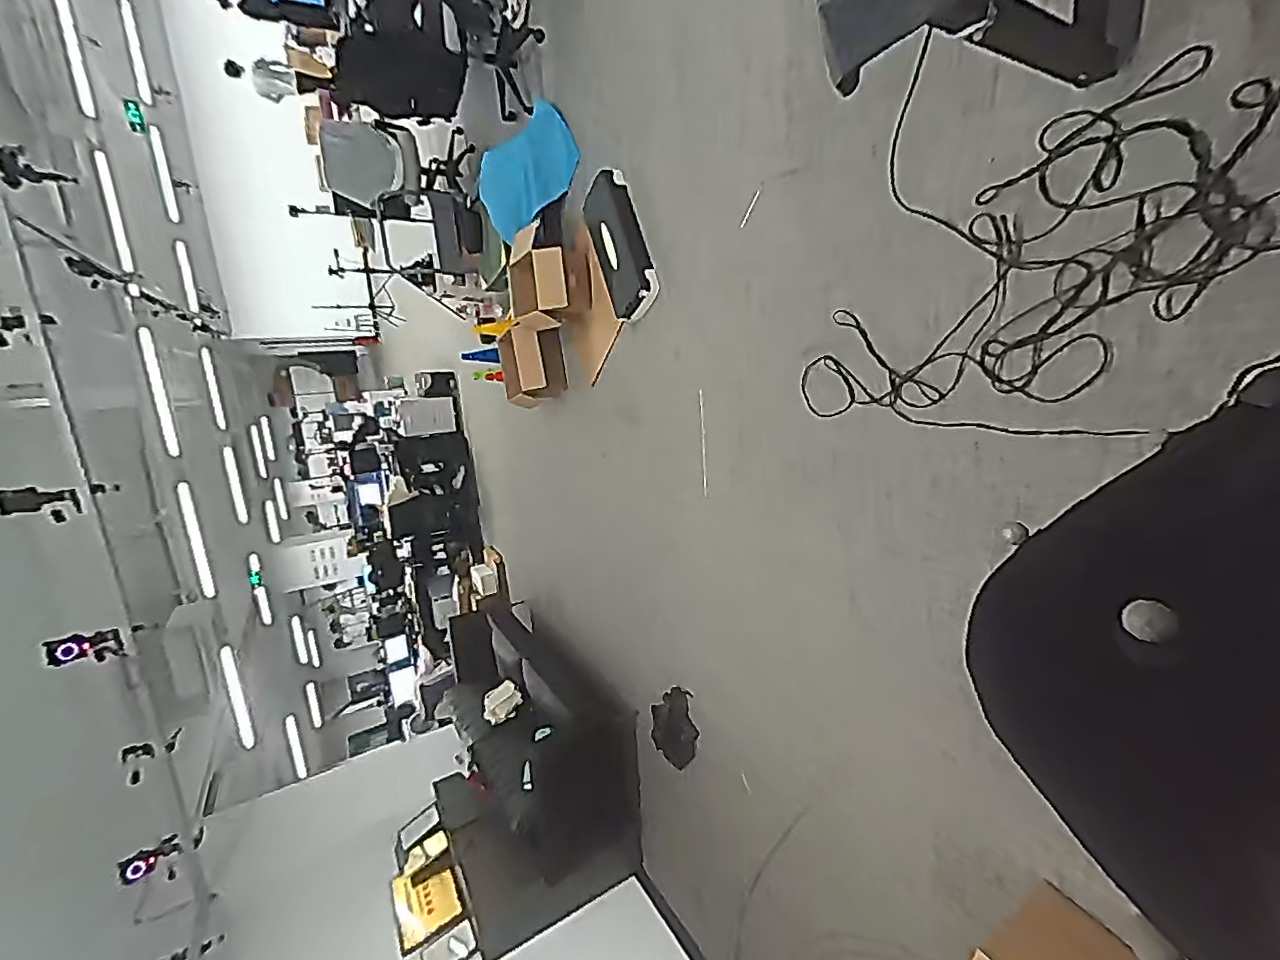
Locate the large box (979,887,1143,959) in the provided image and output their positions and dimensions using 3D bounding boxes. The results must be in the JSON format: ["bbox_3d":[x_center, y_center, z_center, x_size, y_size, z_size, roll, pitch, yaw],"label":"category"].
[{"bbox_3d":[1.022,1.258,1.202,0.408,0.320,0.320,29,123,55],"label":"large box"}]
